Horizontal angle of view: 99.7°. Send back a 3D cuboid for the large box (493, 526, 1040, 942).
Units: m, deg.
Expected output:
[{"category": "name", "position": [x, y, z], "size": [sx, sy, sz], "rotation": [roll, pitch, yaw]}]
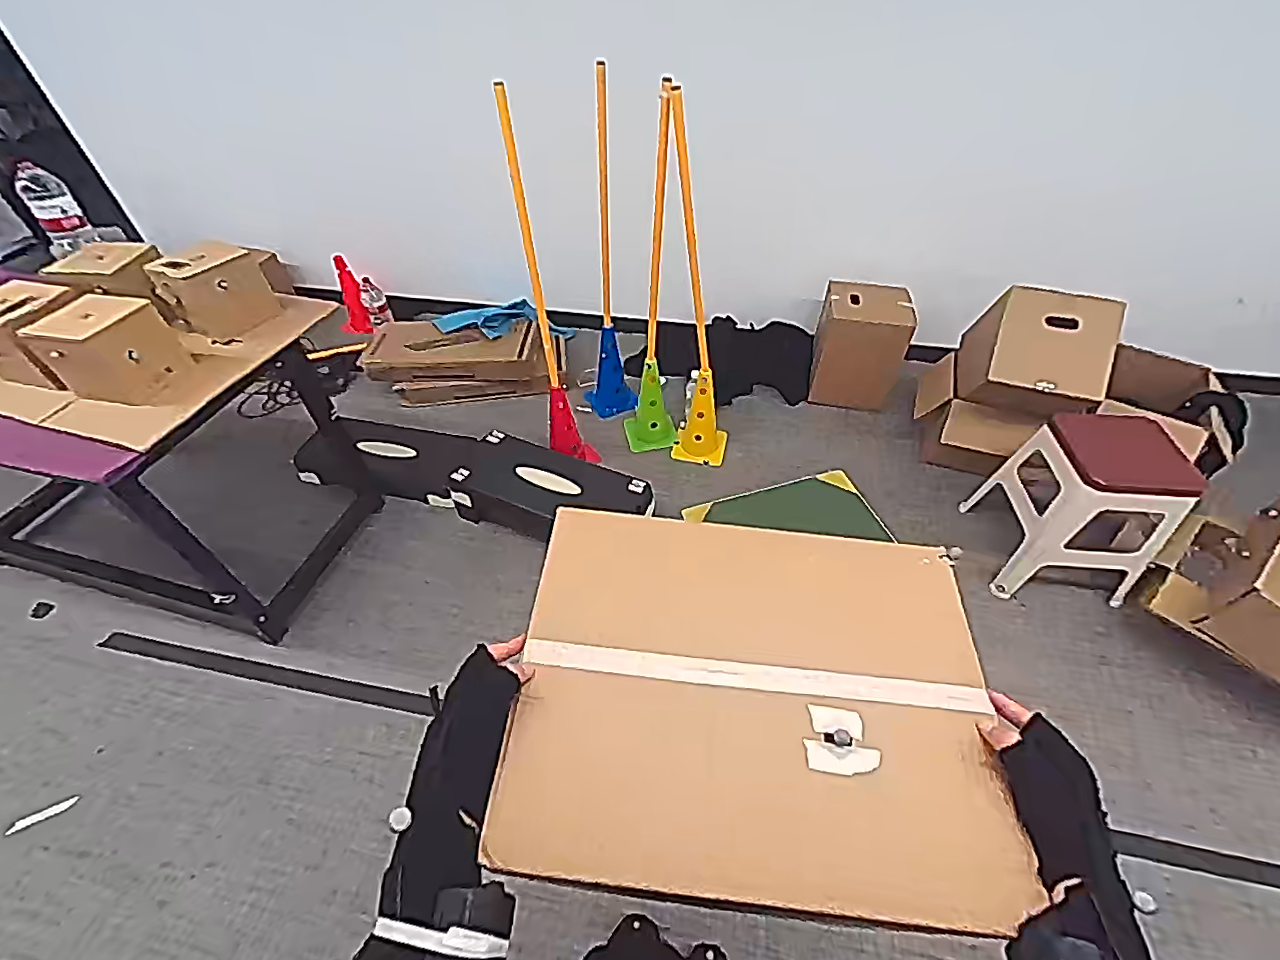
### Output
[{"category": "large box", "position": [0.094, 0.278, 0.593], "size": [0.408, 0.320, 0.320], "rotation": [7, 52, 2]}]
